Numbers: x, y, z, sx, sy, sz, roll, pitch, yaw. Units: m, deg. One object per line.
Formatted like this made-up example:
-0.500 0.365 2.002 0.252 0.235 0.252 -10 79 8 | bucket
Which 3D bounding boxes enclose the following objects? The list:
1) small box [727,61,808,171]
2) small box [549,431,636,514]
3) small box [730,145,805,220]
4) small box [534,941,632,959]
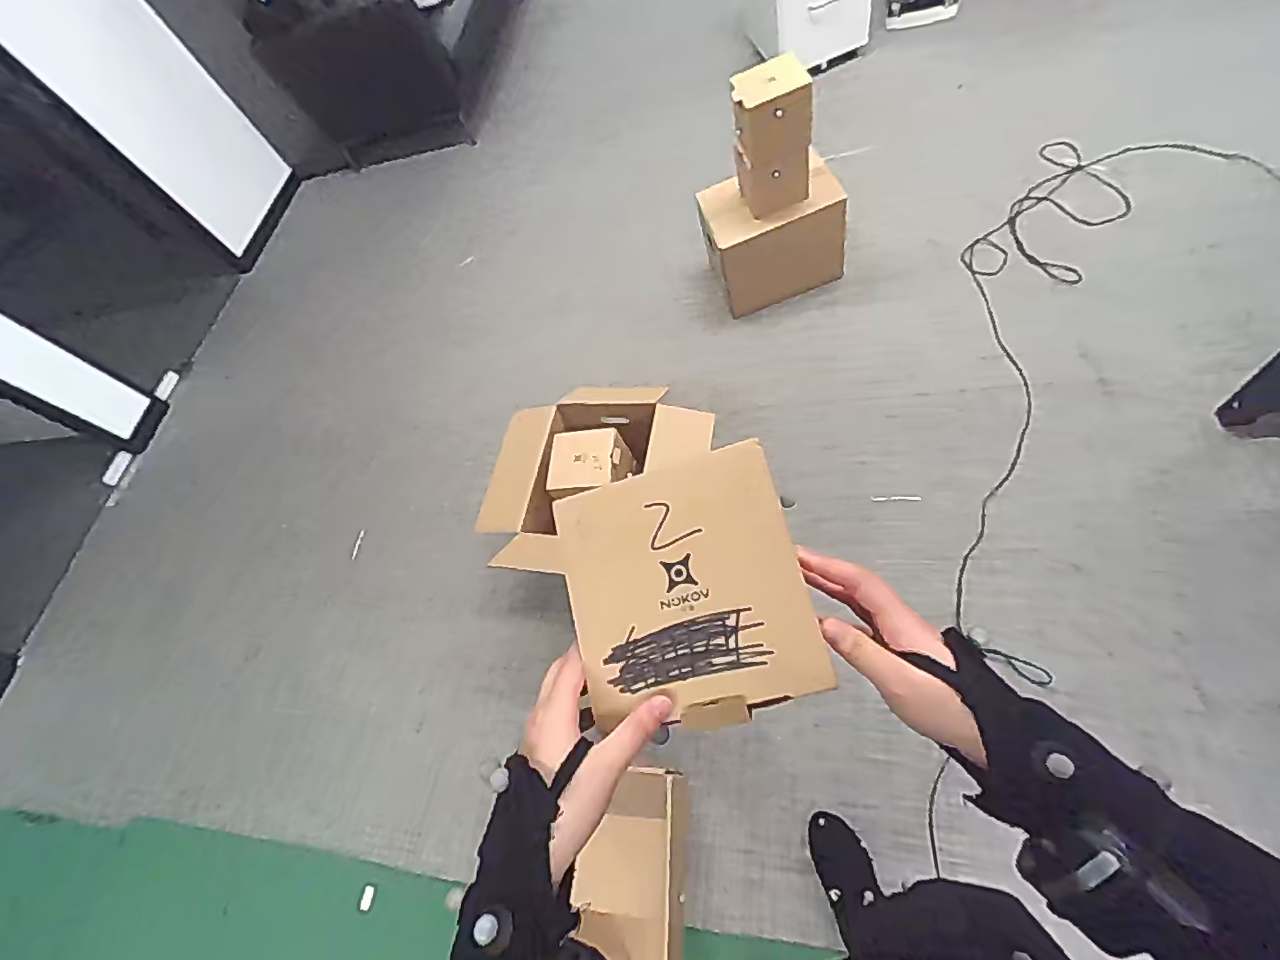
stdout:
0.358 -1.009 1.509 0.179 0.176 0.168 -19 59 9 | small box
-0.122 -0.014 1.456 0.179 0.176 0.168 -5 63 17 | small box
0.392 -0.932 1.648 0.179 0.176 0.168 -19 59 8 | small box
-0.115 1.027 1.036 0.168 0.176 0.179 -5 60 18 | small box
